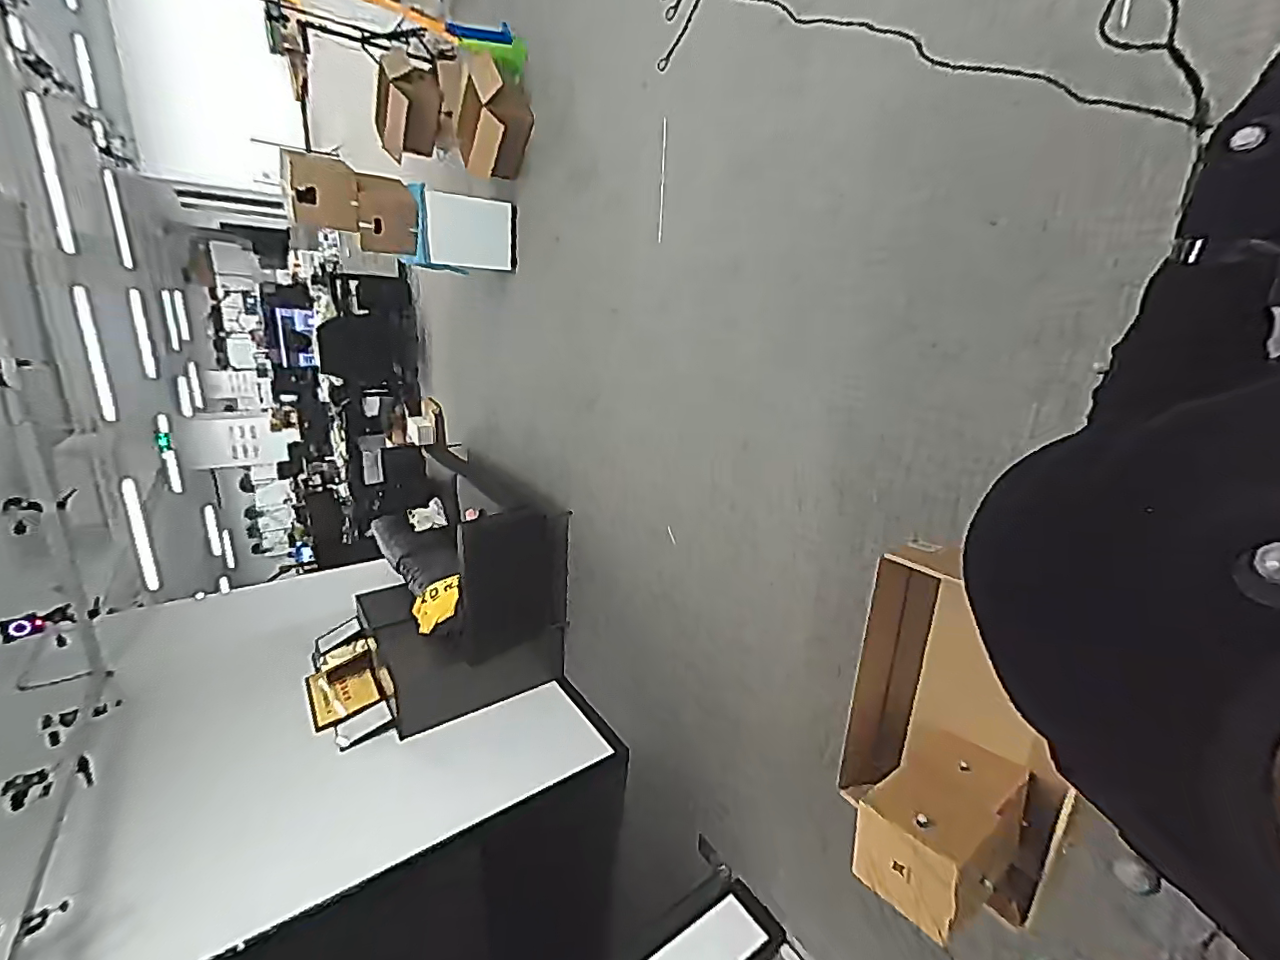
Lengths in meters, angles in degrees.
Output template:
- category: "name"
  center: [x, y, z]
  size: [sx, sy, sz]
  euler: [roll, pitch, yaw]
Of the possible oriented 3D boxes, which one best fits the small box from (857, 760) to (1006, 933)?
- category: "small box"
  center: [0.528, 0.647, 0.987]
  size: [0.179, 0.176, 0.168]
  euler: [16, 110, 51]
